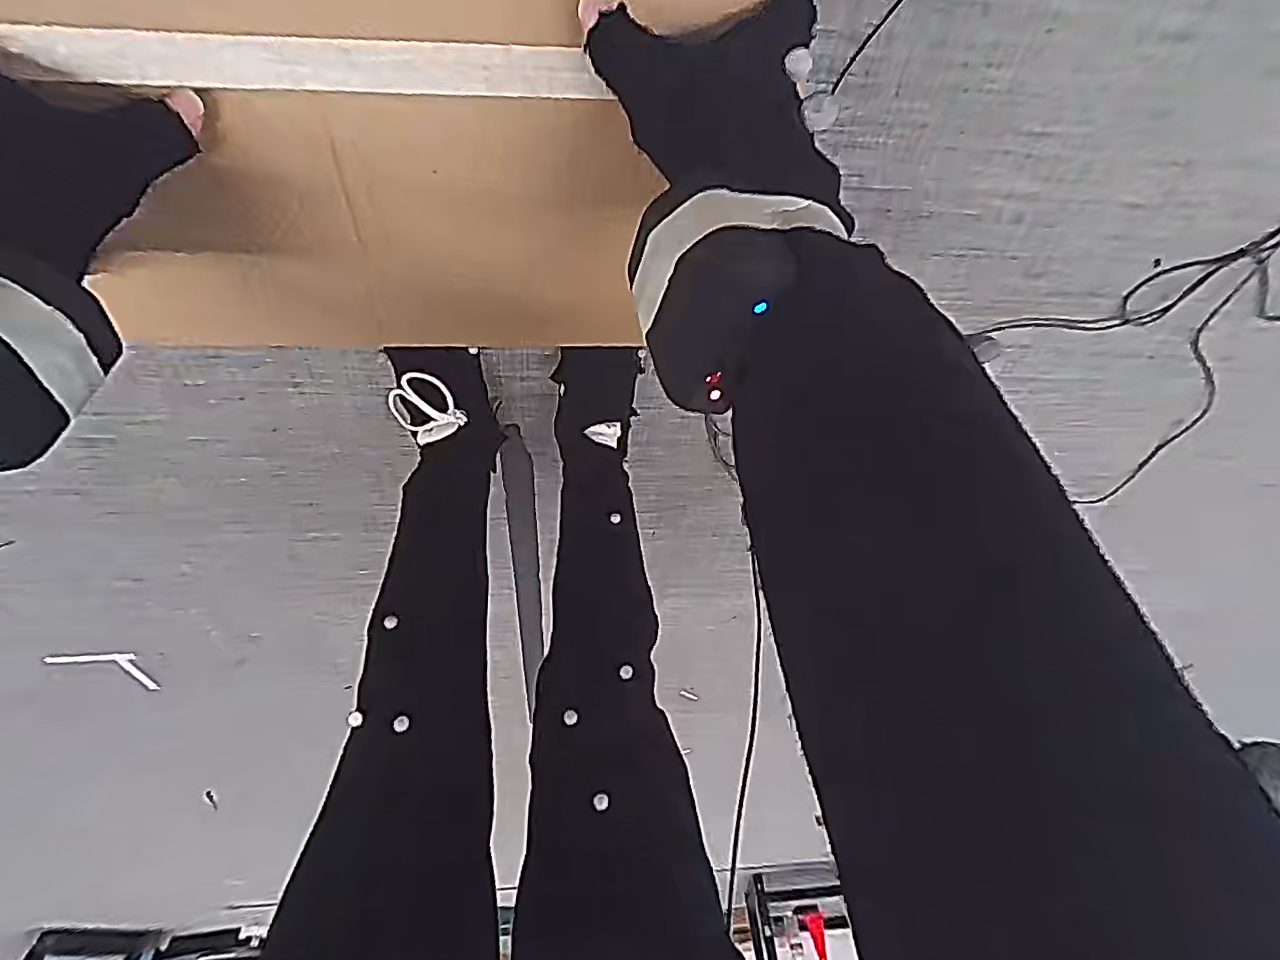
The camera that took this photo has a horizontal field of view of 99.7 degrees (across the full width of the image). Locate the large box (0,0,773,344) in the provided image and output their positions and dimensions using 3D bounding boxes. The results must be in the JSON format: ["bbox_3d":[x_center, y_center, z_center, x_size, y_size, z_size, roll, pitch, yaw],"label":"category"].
[{"bbox_3d":[-0.141,-0.312,0.388,0.408,0.320,0.320,-1,132,-5],"label":"large box"}]
